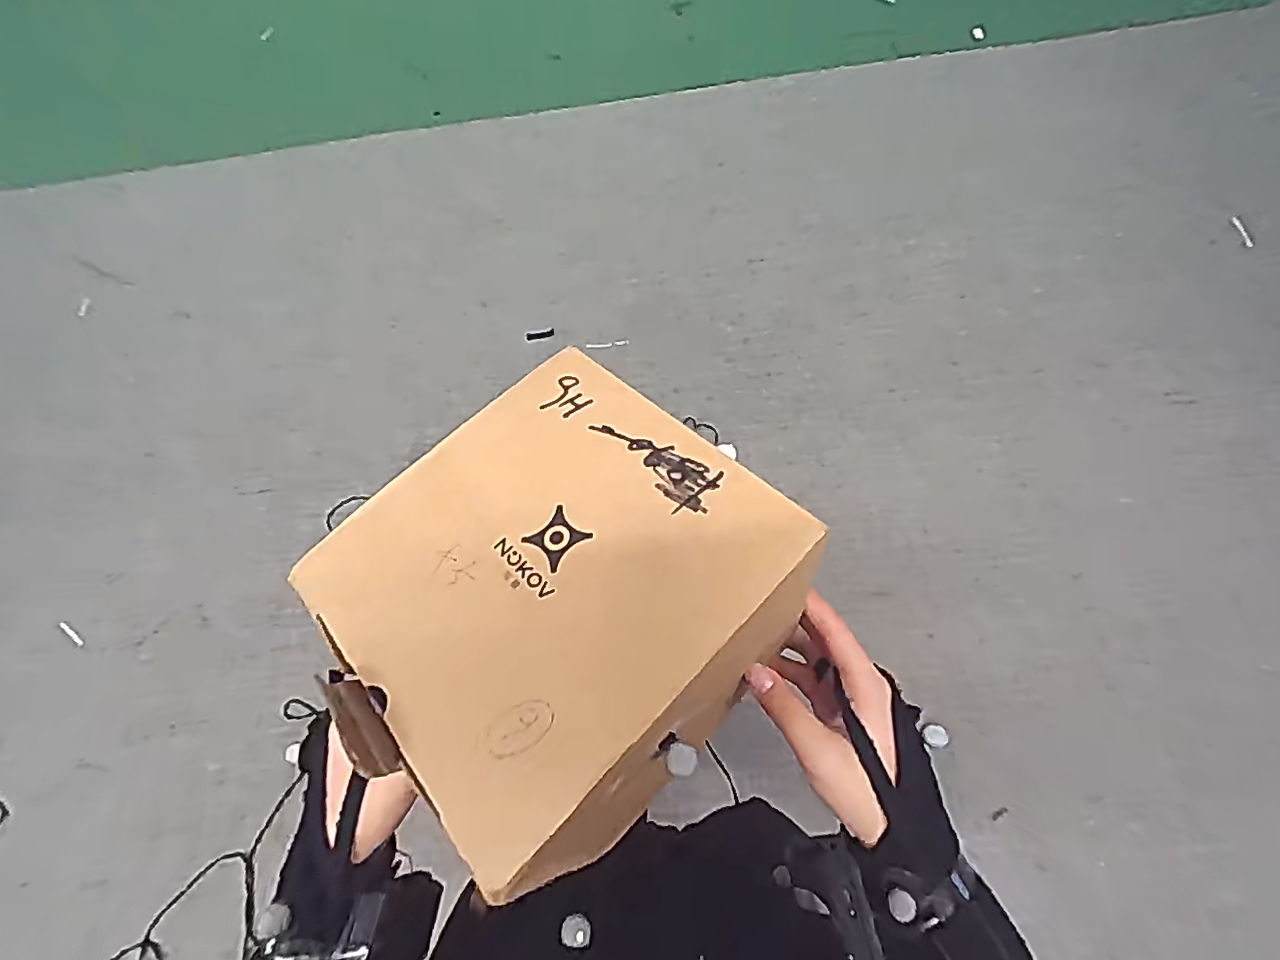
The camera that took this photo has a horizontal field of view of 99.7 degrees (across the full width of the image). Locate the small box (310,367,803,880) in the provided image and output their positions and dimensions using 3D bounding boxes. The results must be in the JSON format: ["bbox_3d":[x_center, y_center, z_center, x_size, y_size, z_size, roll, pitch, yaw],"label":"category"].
[{"bbox_3d":[-0.030,0.078,0.310,0.179,0.176,0.168,-43,62,-16],"label":"small box"}]
